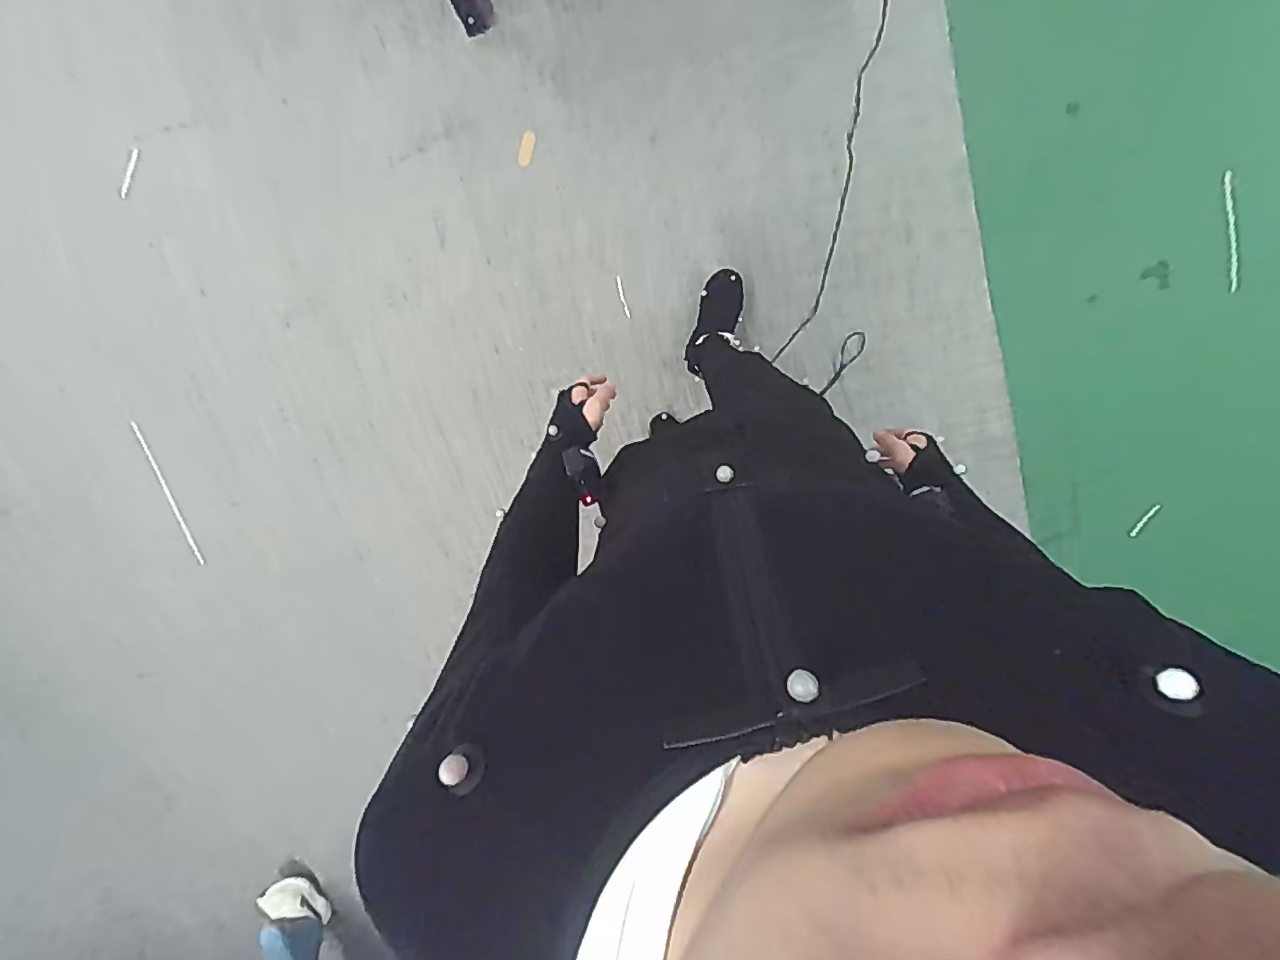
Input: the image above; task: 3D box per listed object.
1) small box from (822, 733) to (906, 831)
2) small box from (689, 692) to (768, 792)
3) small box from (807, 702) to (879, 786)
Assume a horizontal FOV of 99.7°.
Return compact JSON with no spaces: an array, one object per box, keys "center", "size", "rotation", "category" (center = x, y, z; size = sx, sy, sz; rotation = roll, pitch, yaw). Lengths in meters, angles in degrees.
[{"center":[0.624,0.847,1.527],"size":[0.179,0.176,0.168],"rotation":[-8,102,2],"category":"small box"},{"center":[0.239,0.728,1.514],"size":[0.179,0.176,0.168],"rotation":[-16,99,2],"category":"small box"},{"center":[0.630,0.820,1.690],"size":[0.179,0.176,0.168],"rotation":[-8,101,2],"category":"small box"}]
